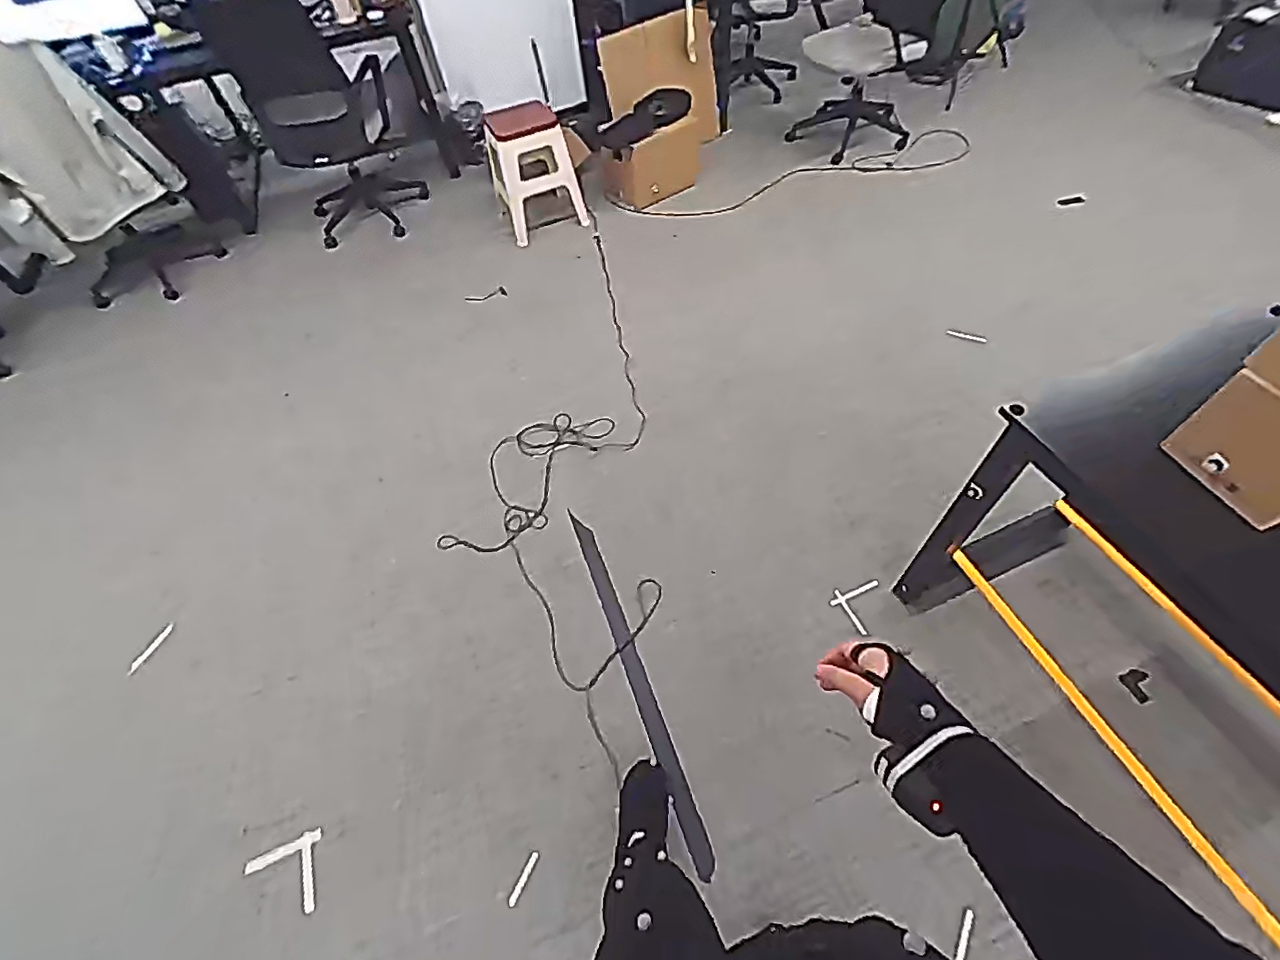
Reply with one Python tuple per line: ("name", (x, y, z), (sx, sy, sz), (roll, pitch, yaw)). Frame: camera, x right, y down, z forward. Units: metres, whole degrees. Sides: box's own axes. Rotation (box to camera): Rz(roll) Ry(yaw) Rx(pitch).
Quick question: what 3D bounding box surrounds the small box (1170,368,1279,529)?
("small box", (0.909, -0.060, 0.739), (0.179, 0.176, 0.168), (-19, 54, -6))
